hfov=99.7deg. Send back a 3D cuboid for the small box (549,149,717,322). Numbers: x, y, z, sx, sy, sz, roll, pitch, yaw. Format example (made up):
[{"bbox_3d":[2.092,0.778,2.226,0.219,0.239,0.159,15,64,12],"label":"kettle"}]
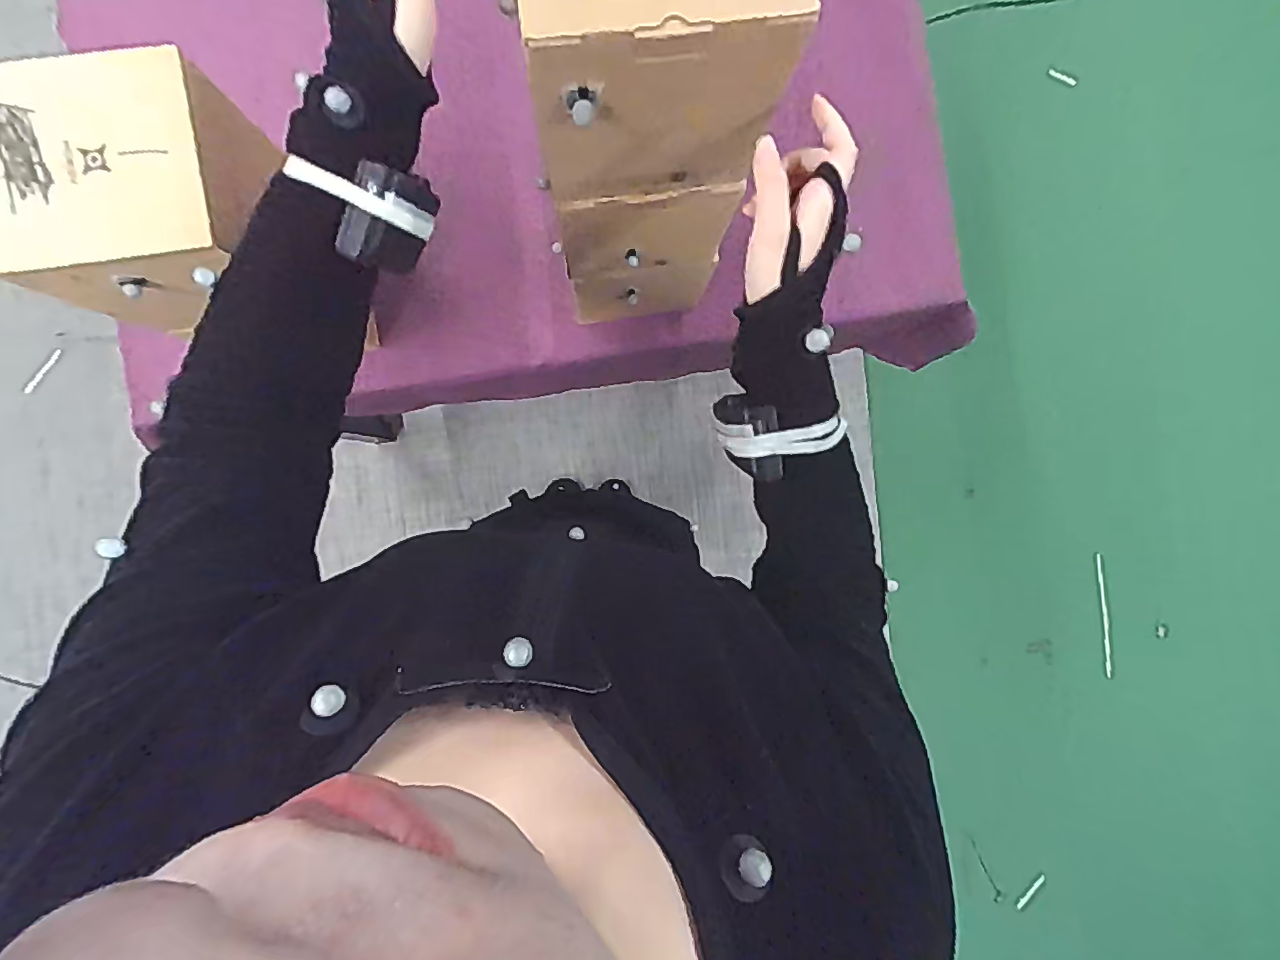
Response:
[{"bbox_3d":[-0.010,-0.317,0.703,0.179,0.176,0.168,-10,91,-2],"label":"small box"}]

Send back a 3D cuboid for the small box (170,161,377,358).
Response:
[{"bbox_3d":[-0.453,-0.258,0.677,0.168,0.176,0.179,-9,90,-4],"label":"small box"}]

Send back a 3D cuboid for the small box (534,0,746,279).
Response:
[{"bbox_3d":[-0.005,-0.324,0.540,0.168,0.176,0.179,-8,91,-4],"label":"small box"}]

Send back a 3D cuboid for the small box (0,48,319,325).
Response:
[{"bbox_3d":[-0.445,-0.257,0.513,0.179,0.176,0.168,-9,91,-4],"label":"small box"}]
